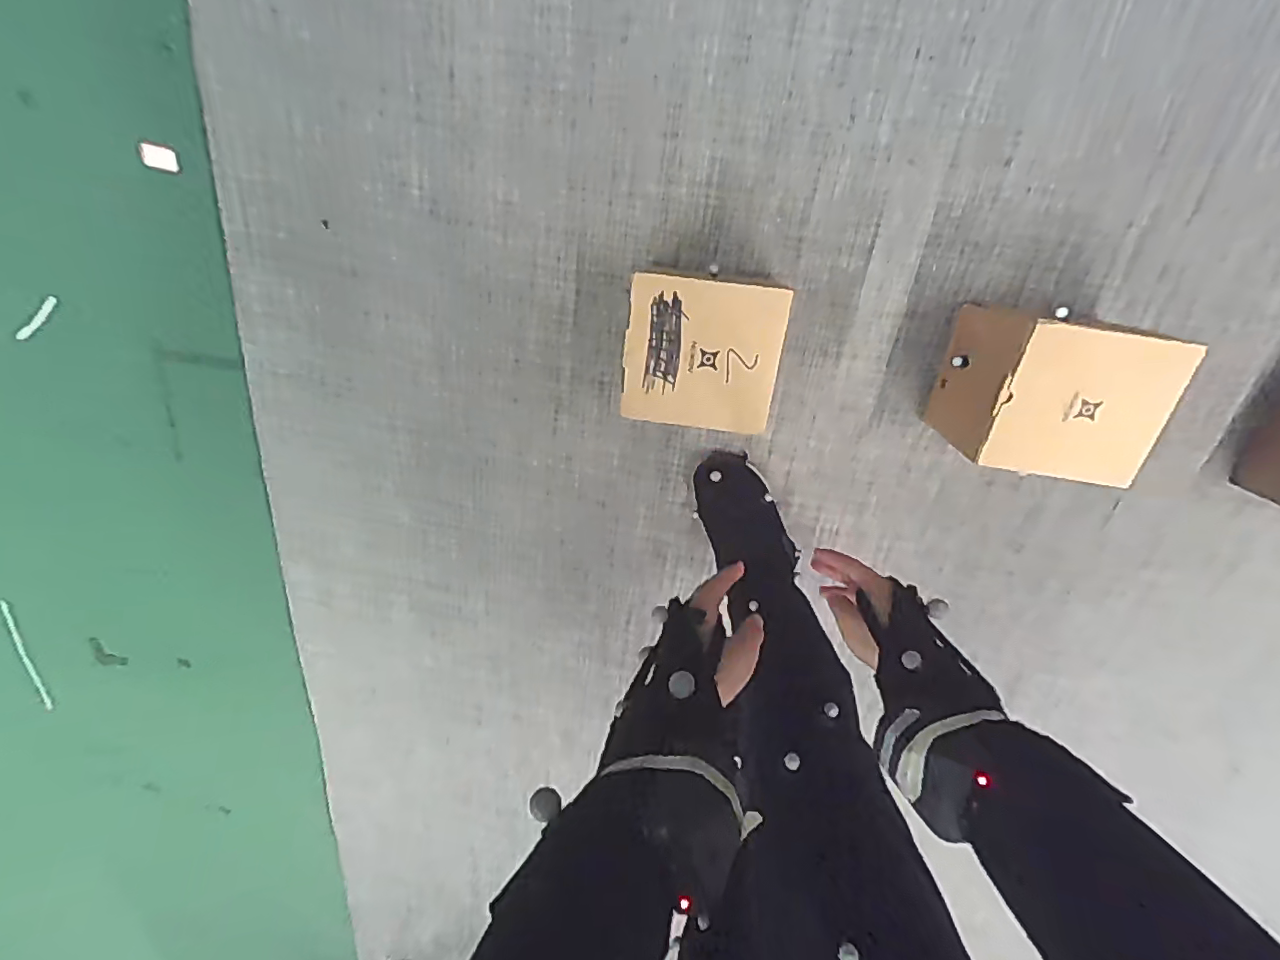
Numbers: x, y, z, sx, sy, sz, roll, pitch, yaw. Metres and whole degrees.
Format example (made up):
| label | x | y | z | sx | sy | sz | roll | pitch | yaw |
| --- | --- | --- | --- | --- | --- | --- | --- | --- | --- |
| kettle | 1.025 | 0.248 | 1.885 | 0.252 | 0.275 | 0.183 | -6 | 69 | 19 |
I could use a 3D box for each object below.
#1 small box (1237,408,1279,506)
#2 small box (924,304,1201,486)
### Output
| label | x | y | z | sx | sy | sz | roll | pitch | yaw |
| --- | --- | --- | --- | --- | --- | --- | --- | --- | --- |
| small box | 0.908 | -0.021 | 0.652 | 0.168 | 0.176 | 0.179 | 13 | 114 | -1 |
| small box | 0.487 | -0.112 | 0.660 | 0.179 | 0.176 | 0.168 | 10 | 115 | 3 |
